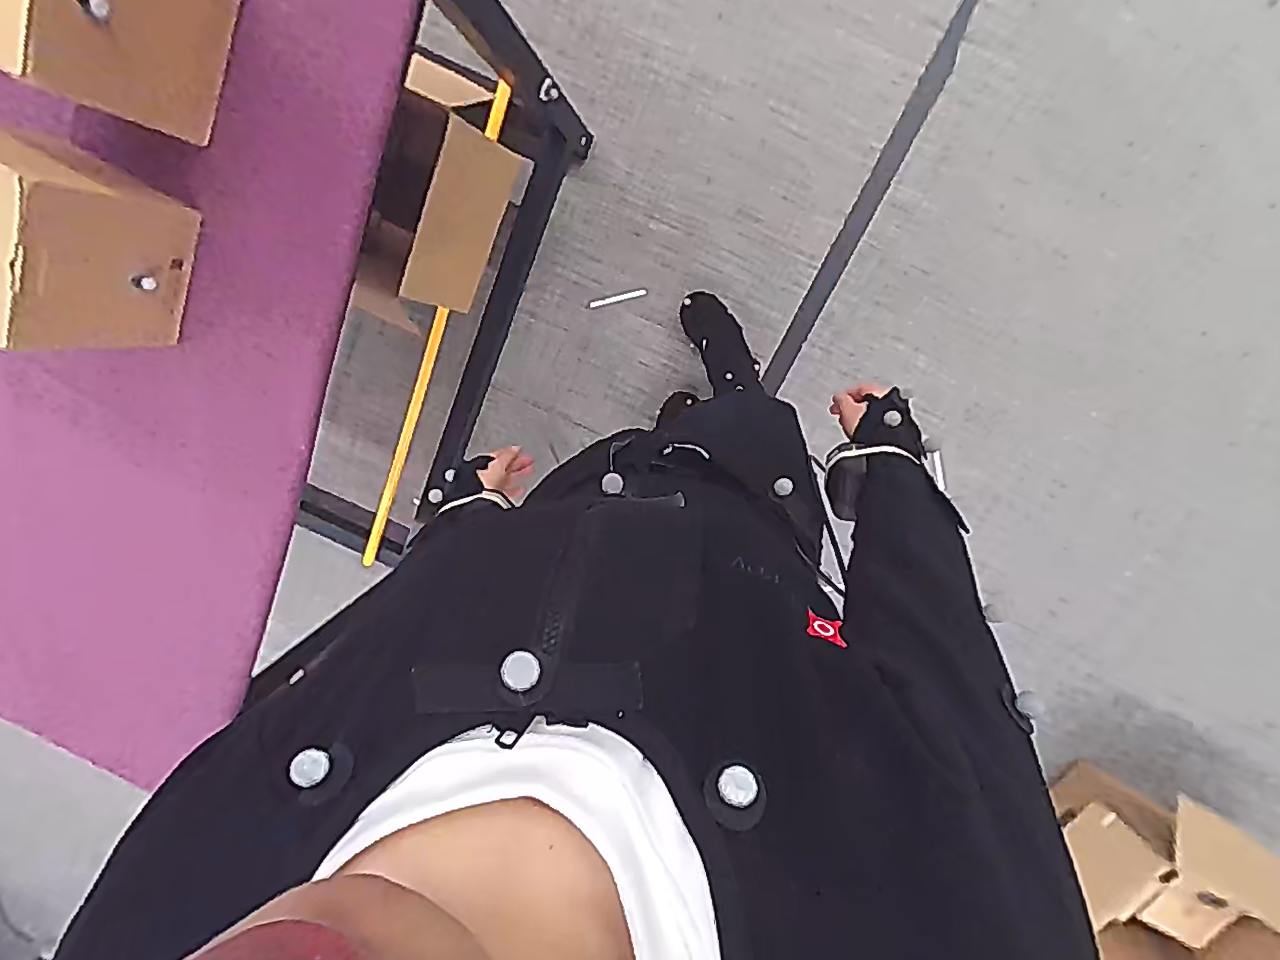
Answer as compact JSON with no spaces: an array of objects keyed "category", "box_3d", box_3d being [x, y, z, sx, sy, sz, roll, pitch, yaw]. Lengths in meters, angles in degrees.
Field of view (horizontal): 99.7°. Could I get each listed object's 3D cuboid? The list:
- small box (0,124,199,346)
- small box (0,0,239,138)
[{"category":"small box","box_3d":[-0.618,-0.252,0.556,0.179,0.176,0.168,28,108,0]},{"category":"small box","box_3d":[-0.511,-0.456,0.485,0.168,0.176,0.179,30,108,0]}]
